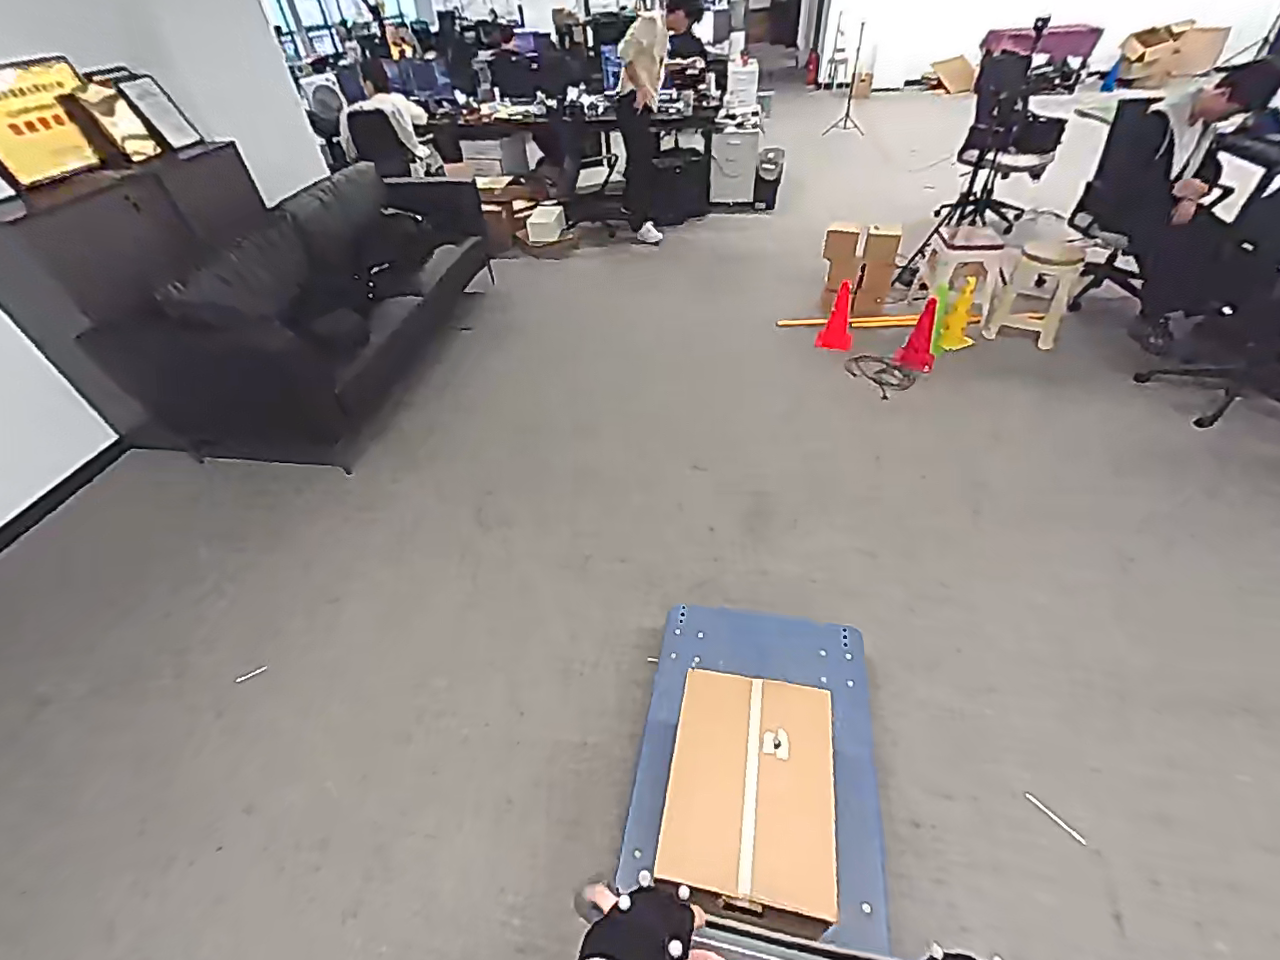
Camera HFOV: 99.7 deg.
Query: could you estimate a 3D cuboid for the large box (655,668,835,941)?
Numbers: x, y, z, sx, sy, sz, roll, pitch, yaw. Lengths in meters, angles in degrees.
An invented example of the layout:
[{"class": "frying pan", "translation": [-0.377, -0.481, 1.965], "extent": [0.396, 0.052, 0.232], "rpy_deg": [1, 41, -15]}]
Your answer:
[{"class": "large box", "translation": [0.223, 0.685, 1.165], "extent": [0.320, 0.320, 0.408], "rpy_deg": [6, 43, 11]}]
